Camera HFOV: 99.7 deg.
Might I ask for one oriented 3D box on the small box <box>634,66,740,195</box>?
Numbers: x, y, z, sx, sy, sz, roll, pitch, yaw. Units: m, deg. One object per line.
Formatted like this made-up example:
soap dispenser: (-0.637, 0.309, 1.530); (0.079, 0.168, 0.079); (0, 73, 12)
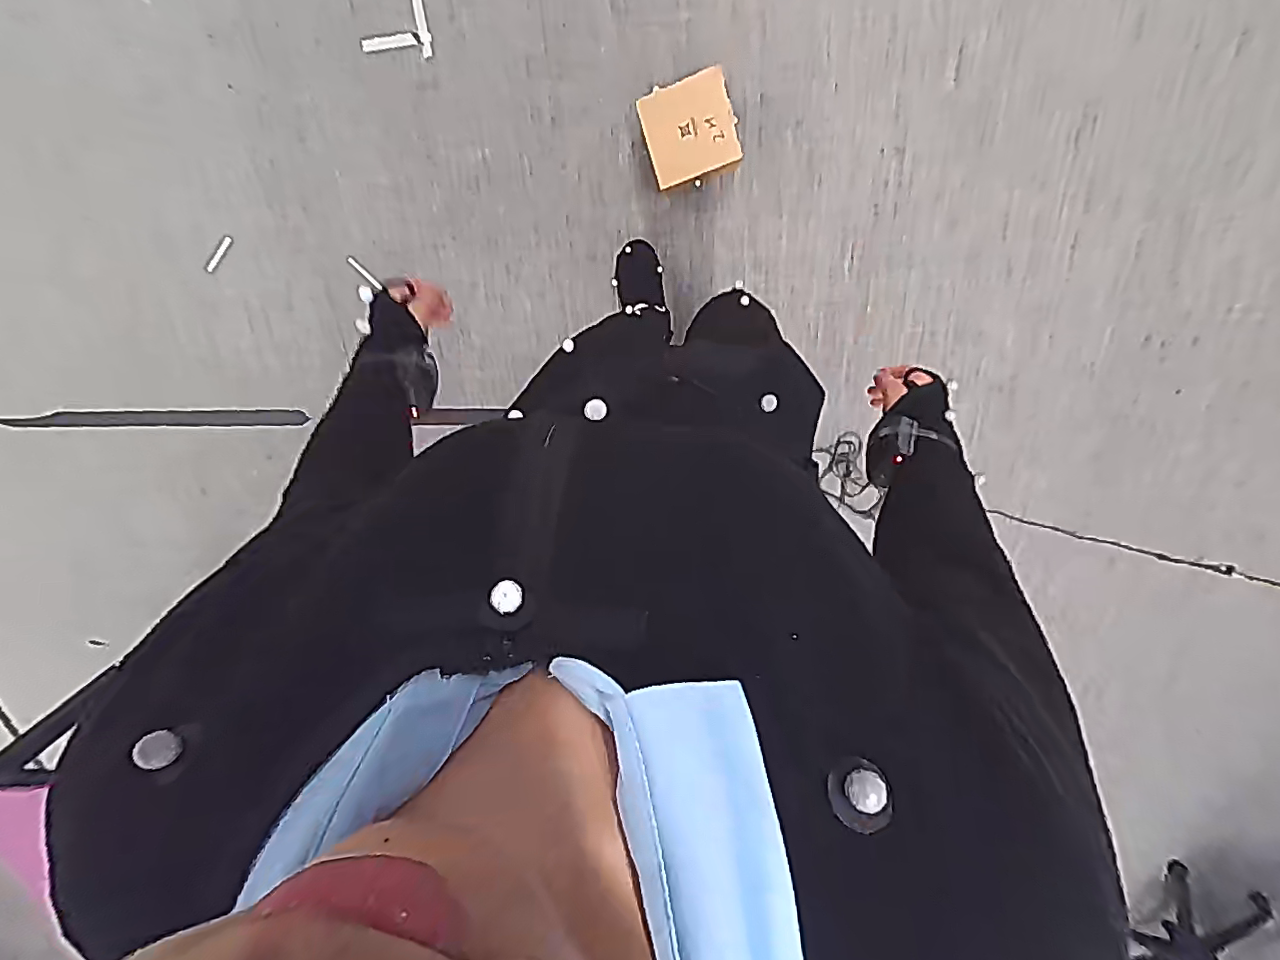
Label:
small box: (0.103, -0.717, 1.133); (0.179, 0.176, 0.168); (-15, 112, 12)
